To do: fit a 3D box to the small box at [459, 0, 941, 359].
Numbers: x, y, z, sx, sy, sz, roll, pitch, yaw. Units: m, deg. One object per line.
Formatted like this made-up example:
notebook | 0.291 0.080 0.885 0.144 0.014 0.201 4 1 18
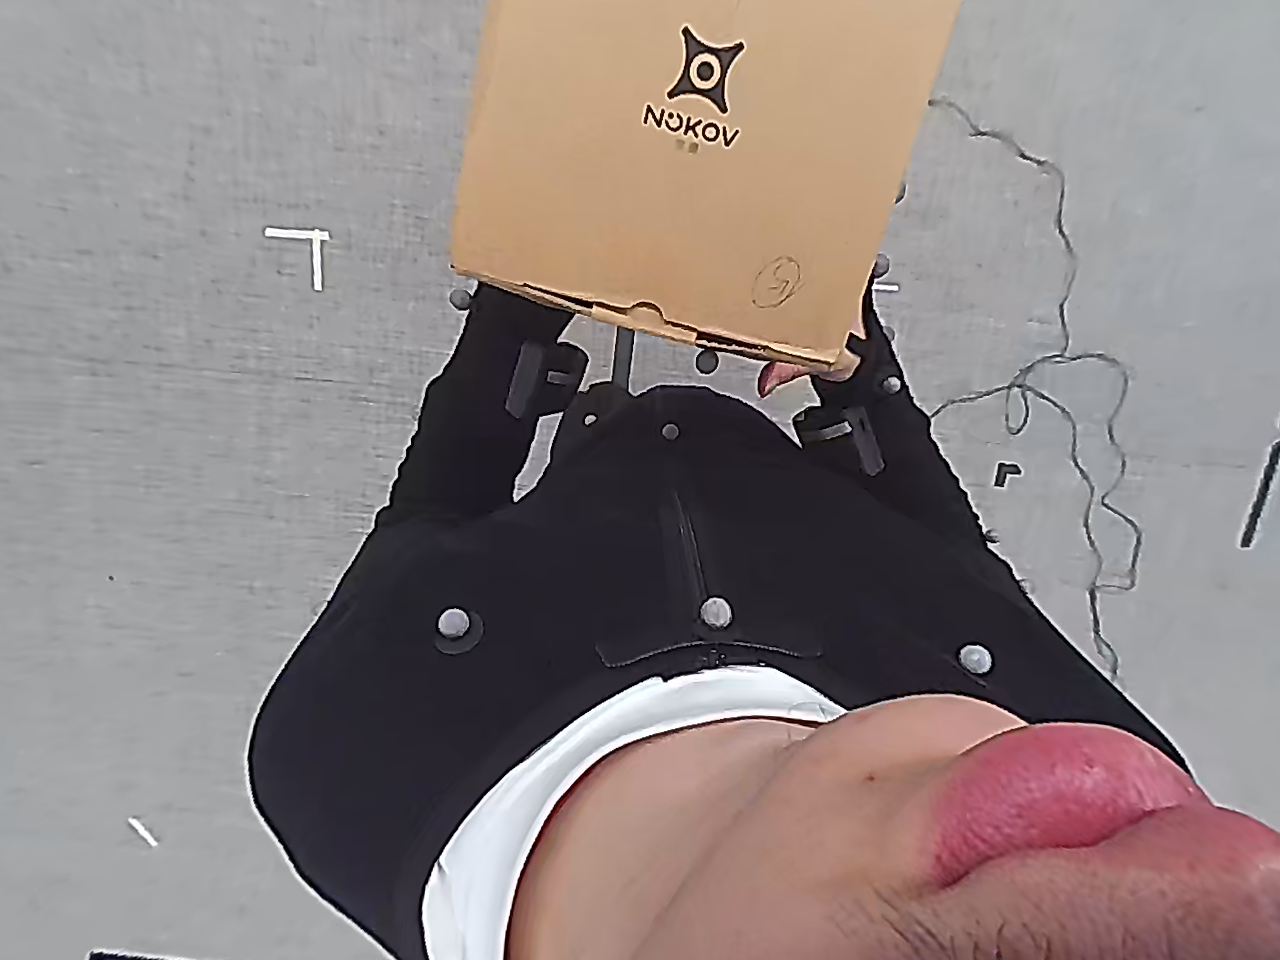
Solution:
small box | 0.023 -0.172 0.290 0.168 0.176 0.179 14 104 -3
